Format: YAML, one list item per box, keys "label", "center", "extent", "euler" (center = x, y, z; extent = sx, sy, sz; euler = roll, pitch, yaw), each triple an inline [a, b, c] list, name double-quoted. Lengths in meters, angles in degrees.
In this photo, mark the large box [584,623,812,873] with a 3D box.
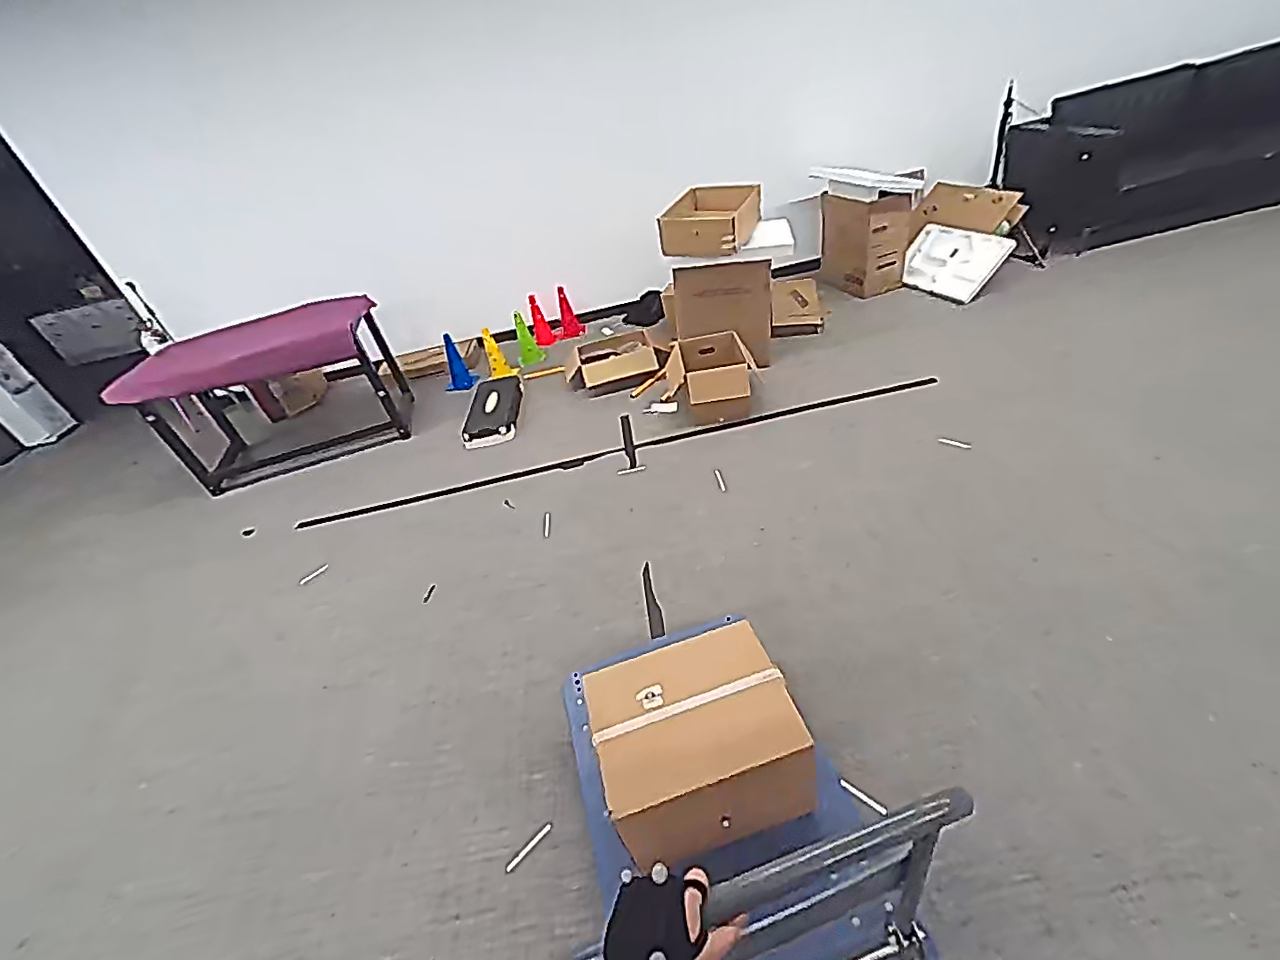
- label: "large box"
  center: [0.130, 0.595, 1.216]
  extent: [0.408, 0.320, 0.320]
  euler: [-19, 36, -5]
